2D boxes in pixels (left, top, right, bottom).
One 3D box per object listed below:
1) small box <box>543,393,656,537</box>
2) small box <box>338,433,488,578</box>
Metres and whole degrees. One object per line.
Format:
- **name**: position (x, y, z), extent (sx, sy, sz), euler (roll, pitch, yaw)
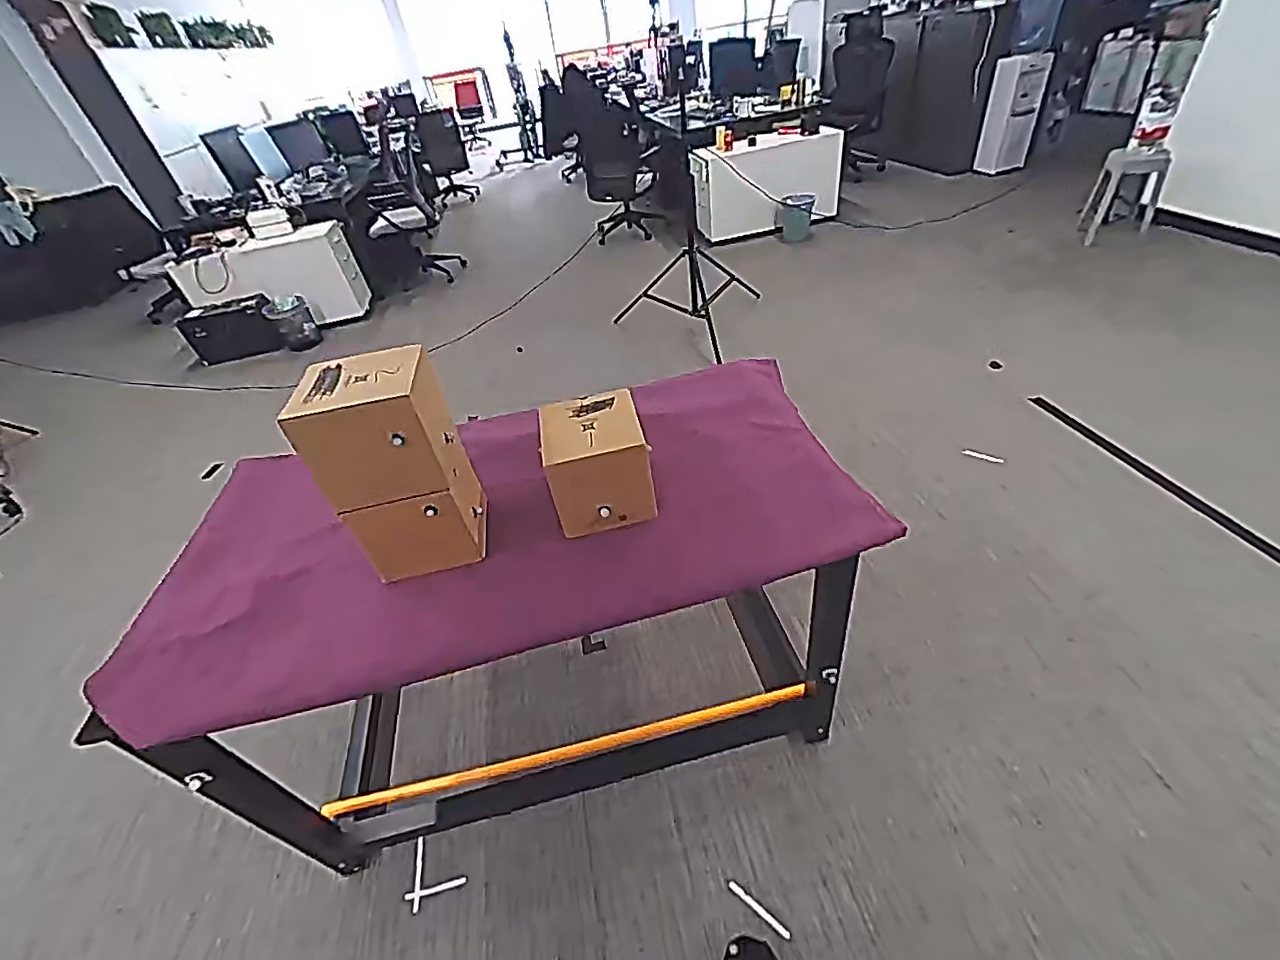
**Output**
- **small box**: position (-0.073, -0.028, 0.956), extent (0.168, 0.176, 0.179), euler (-12, 40, -2)
- **small box**: position (-0.377, 0.047, 0.932), extent (0.179, 0.176, 0.168), euler (-13, 39, -4)
